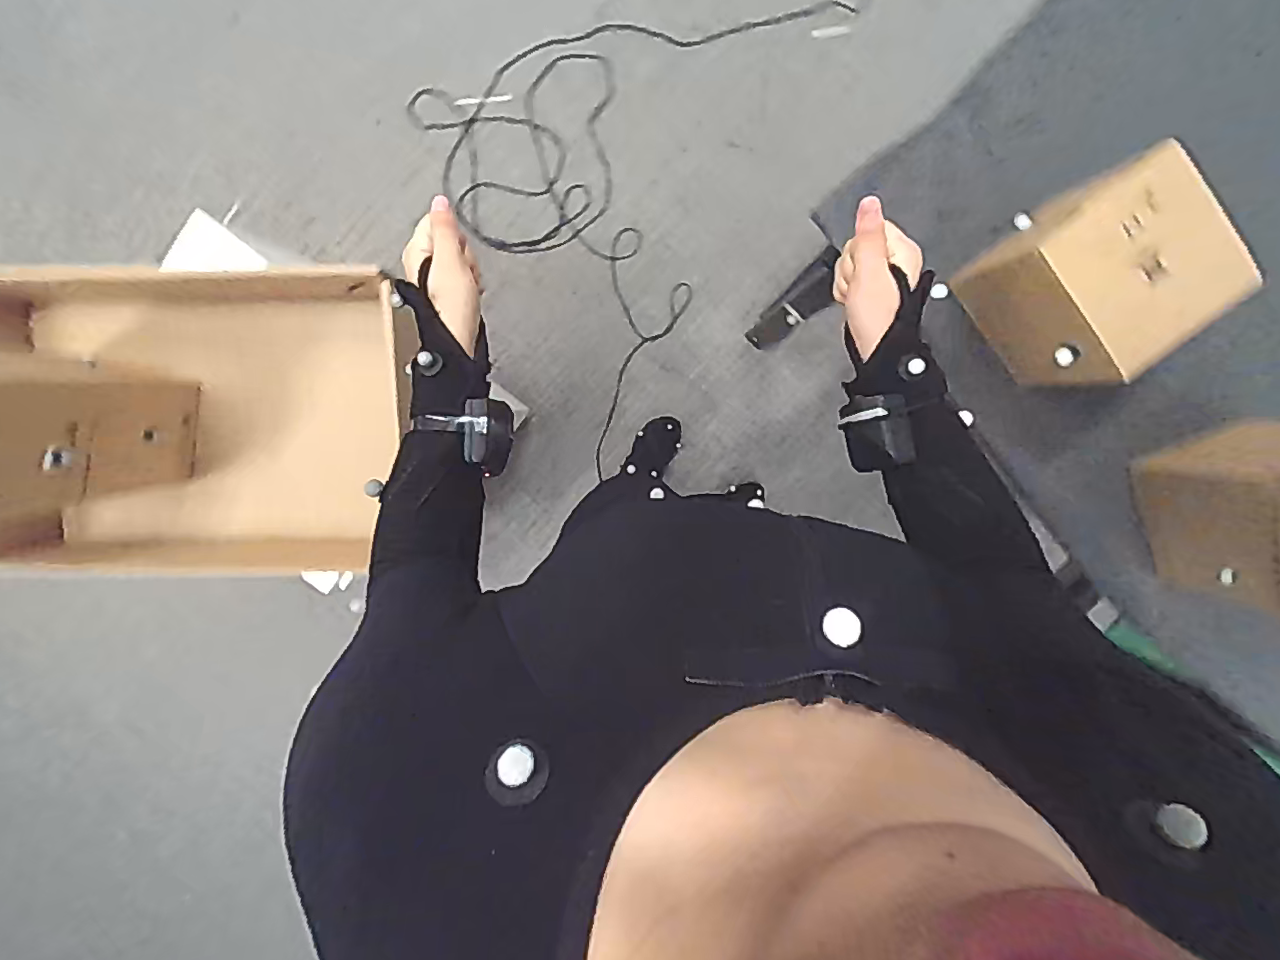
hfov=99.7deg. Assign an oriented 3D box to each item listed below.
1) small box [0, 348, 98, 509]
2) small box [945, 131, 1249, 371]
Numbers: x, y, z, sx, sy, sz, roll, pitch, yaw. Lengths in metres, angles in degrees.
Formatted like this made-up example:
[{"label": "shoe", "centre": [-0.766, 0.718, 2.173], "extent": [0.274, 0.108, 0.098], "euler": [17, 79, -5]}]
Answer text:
[{"label": "small box", "centre": [-0.775, -0.061, 0.598], "extent": [0.179, 0.176, 0.168], "euler": [15, 101, -3]}, {"label": "small box", "centre": [0.509, -0.245, 0.631], "extent": [0.168, 0.176, 0.179], "euler": [-39, 95, 6]}]
